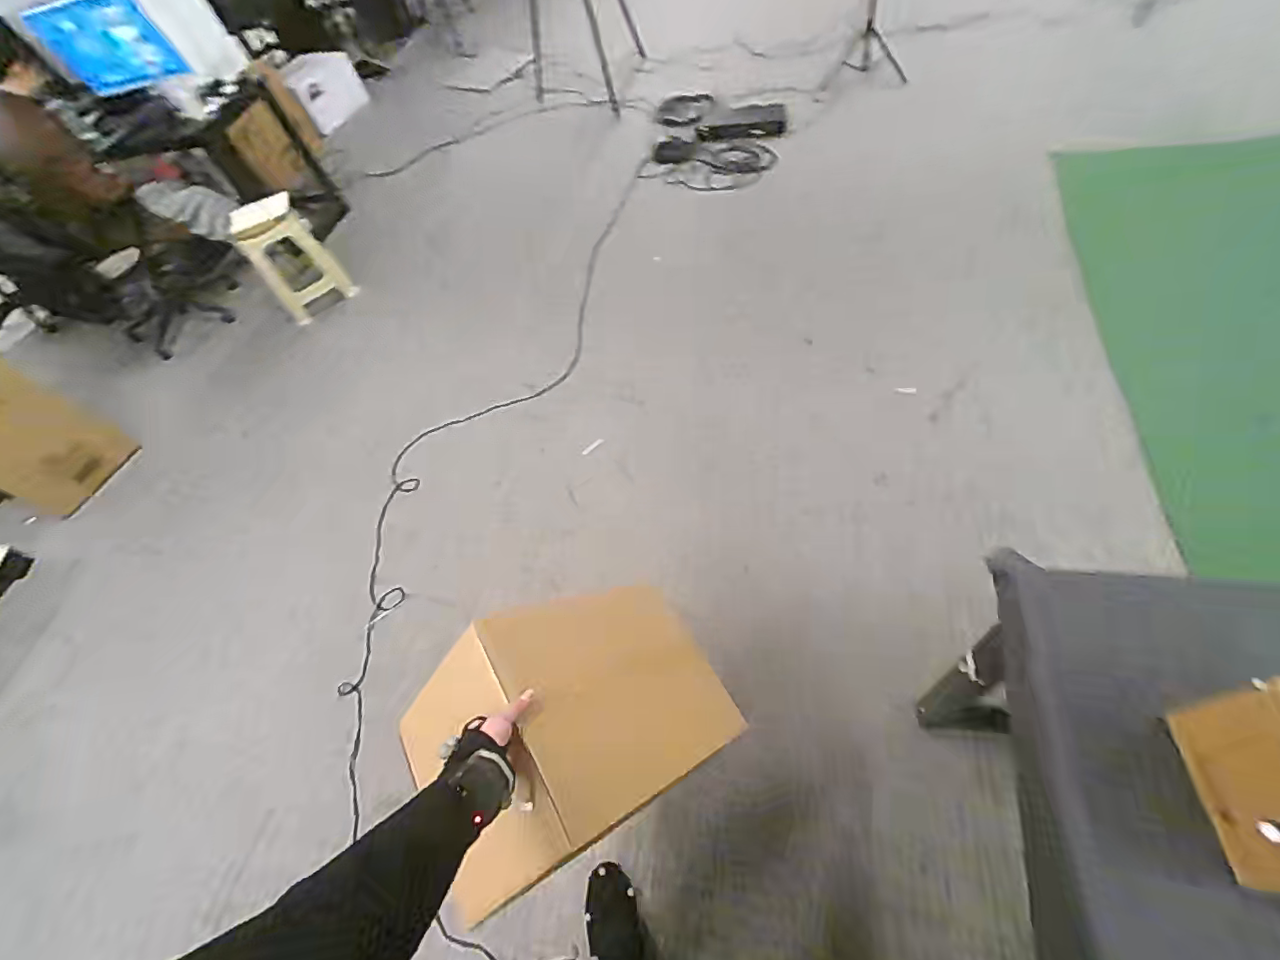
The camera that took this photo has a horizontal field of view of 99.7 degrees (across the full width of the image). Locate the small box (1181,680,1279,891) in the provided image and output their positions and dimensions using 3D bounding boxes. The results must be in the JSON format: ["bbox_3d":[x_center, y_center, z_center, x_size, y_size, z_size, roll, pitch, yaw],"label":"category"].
[{"bbox_3d":[0.671,0.289,0.501,0.179,0.176,0.168,-3,58,9],"label":"small box"}]
